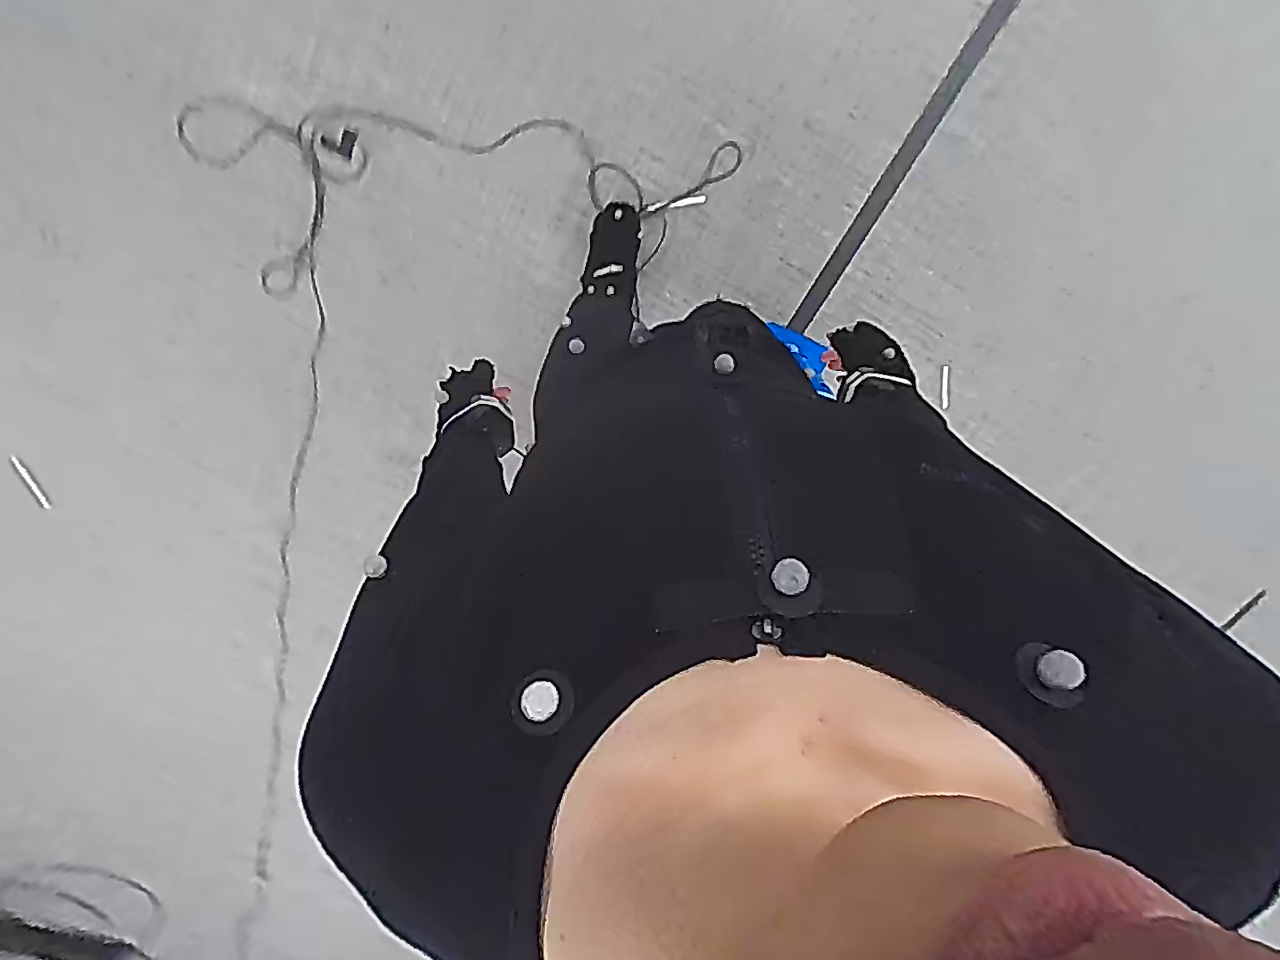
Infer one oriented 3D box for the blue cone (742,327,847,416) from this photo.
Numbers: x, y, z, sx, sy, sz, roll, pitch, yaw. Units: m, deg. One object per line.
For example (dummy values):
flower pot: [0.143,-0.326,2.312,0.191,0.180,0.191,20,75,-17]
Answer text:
blue cone: [0.384,-0.222,1.264,0.192,0.380,0.193,22,110,-12]
